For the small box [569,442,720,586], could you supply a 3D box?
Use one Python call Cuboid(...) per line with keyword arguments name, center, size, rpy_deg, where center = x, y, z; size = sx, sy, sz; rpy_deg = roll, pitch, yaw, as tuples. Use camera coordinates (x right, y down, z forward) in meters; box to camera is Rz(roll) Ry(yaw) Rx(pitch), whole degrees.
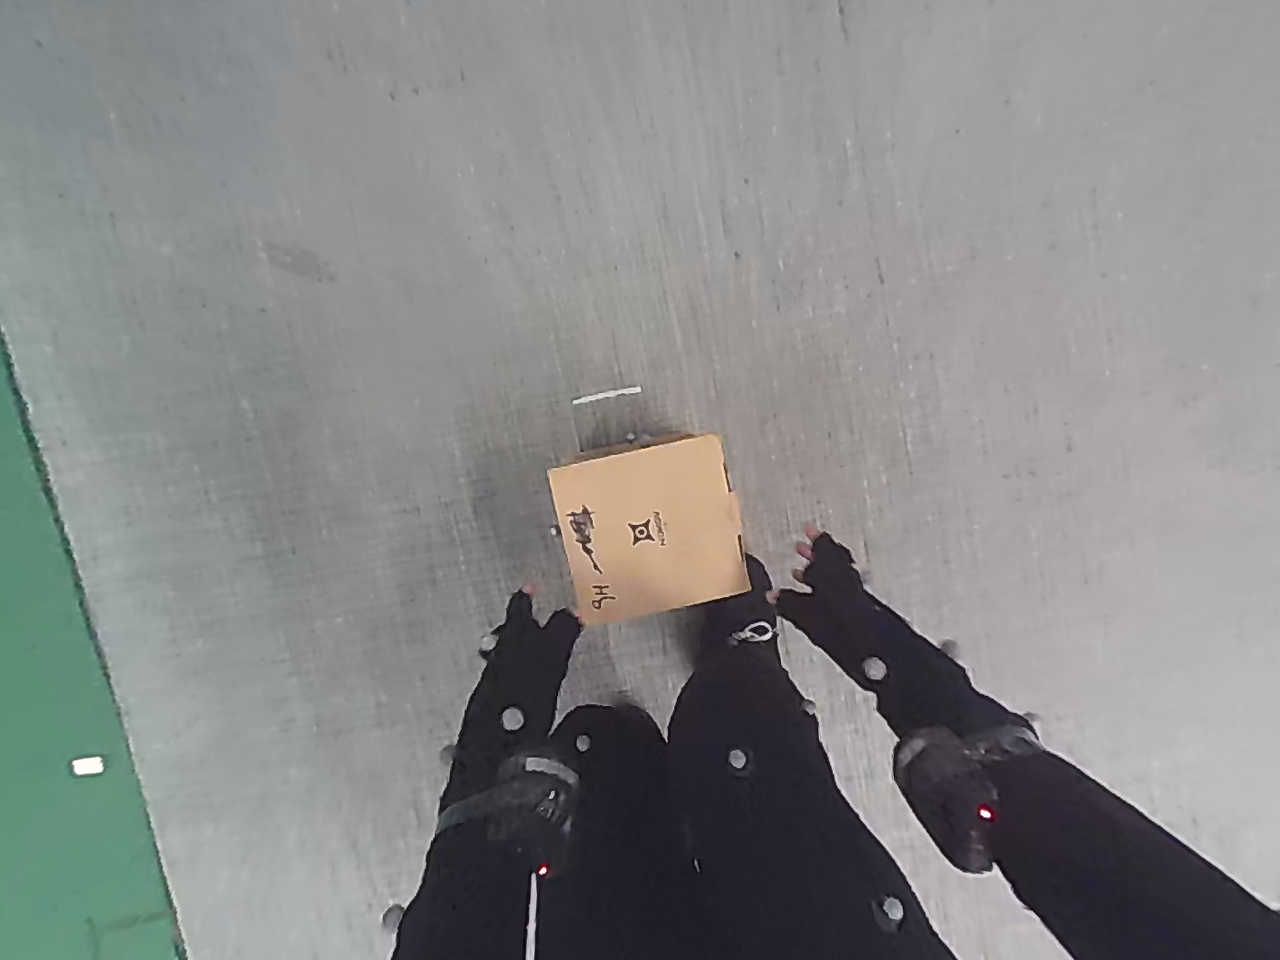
Cuboid(name="small box", center=(0.007, 0.039, 0.787), size=(0.179, 0.176, 0.168), rpy_deg=(-12, 94, 2))
